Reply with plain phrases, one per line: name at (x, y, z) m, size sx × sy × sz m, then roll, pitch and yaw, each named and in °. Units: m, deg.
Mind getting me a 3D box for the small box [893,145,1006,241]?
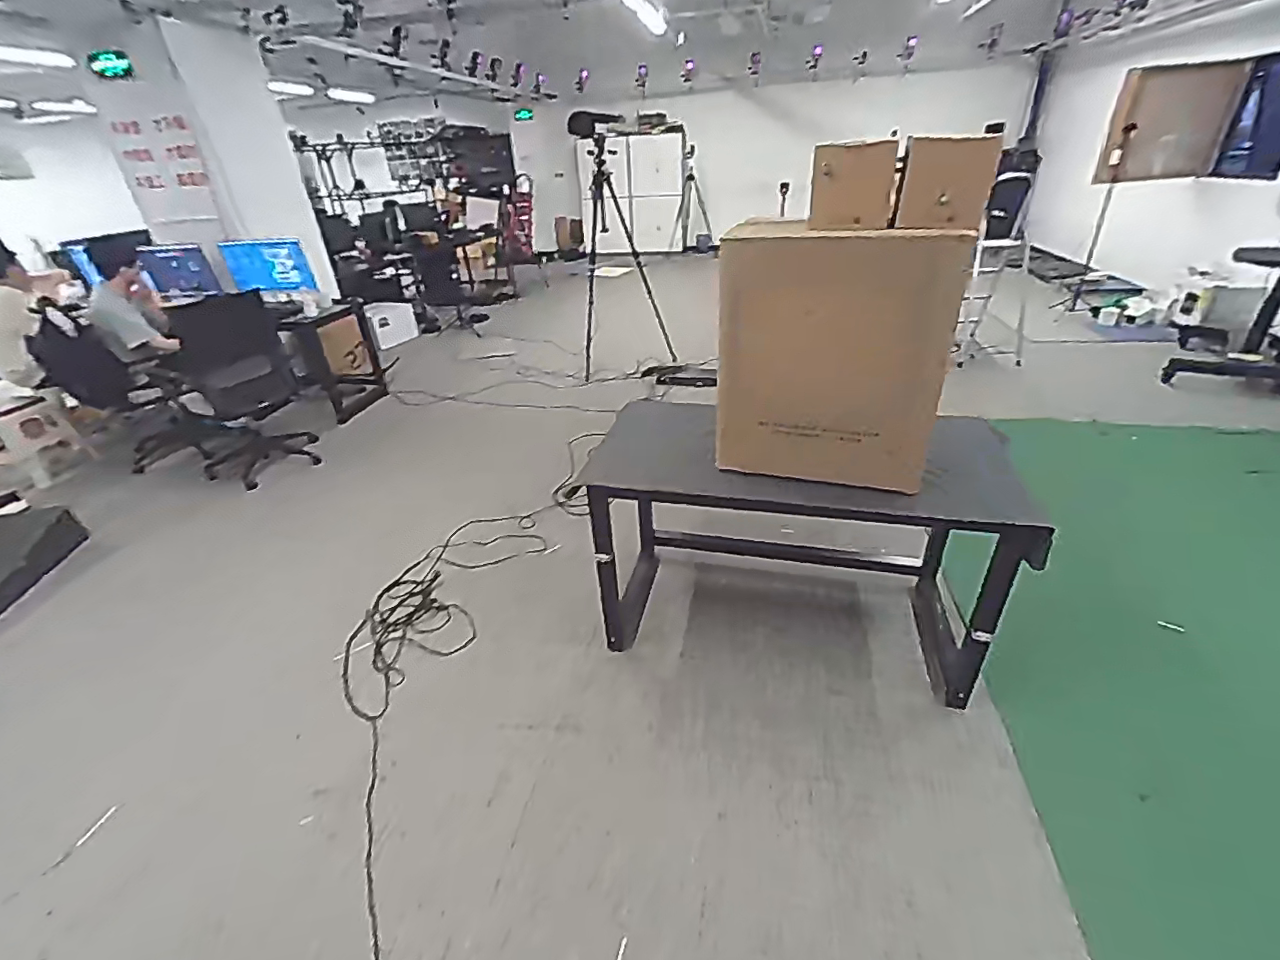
small box at (0.653, -0.623, 1.167) m, size 0.168 × 0.176 × 0.179 m, roll 9°, pitch 34°, yaw 16°
